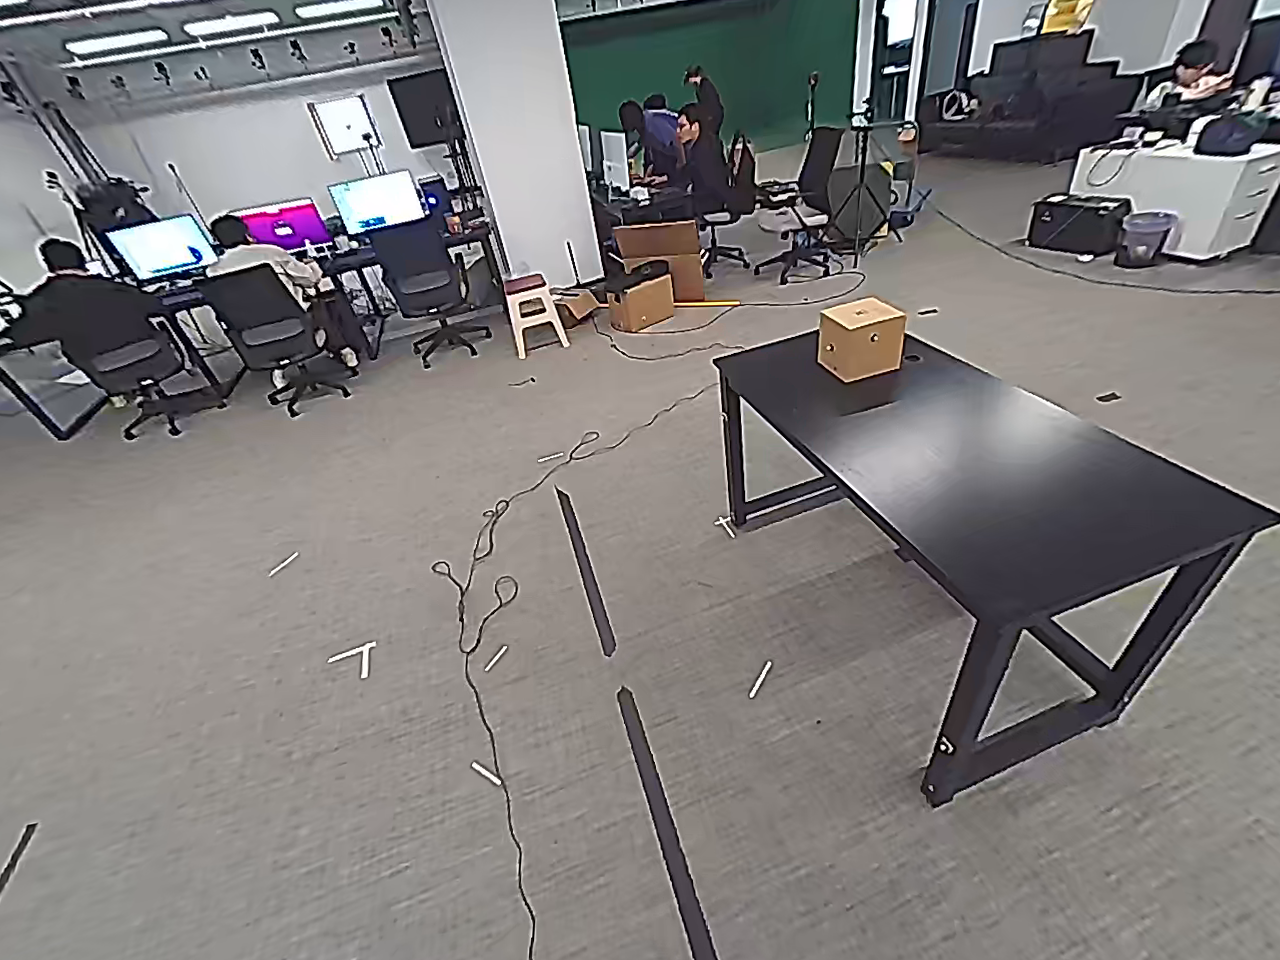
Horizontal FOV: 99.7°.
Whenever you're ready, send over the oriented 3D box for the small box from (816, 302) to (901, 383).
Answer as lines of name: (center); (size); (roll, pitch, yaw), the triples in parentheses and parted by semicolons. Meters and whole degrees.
small box: (0.643, -0.406, 1.606); (0.179, 0.176, 0.168); (-16, 37, -6)
